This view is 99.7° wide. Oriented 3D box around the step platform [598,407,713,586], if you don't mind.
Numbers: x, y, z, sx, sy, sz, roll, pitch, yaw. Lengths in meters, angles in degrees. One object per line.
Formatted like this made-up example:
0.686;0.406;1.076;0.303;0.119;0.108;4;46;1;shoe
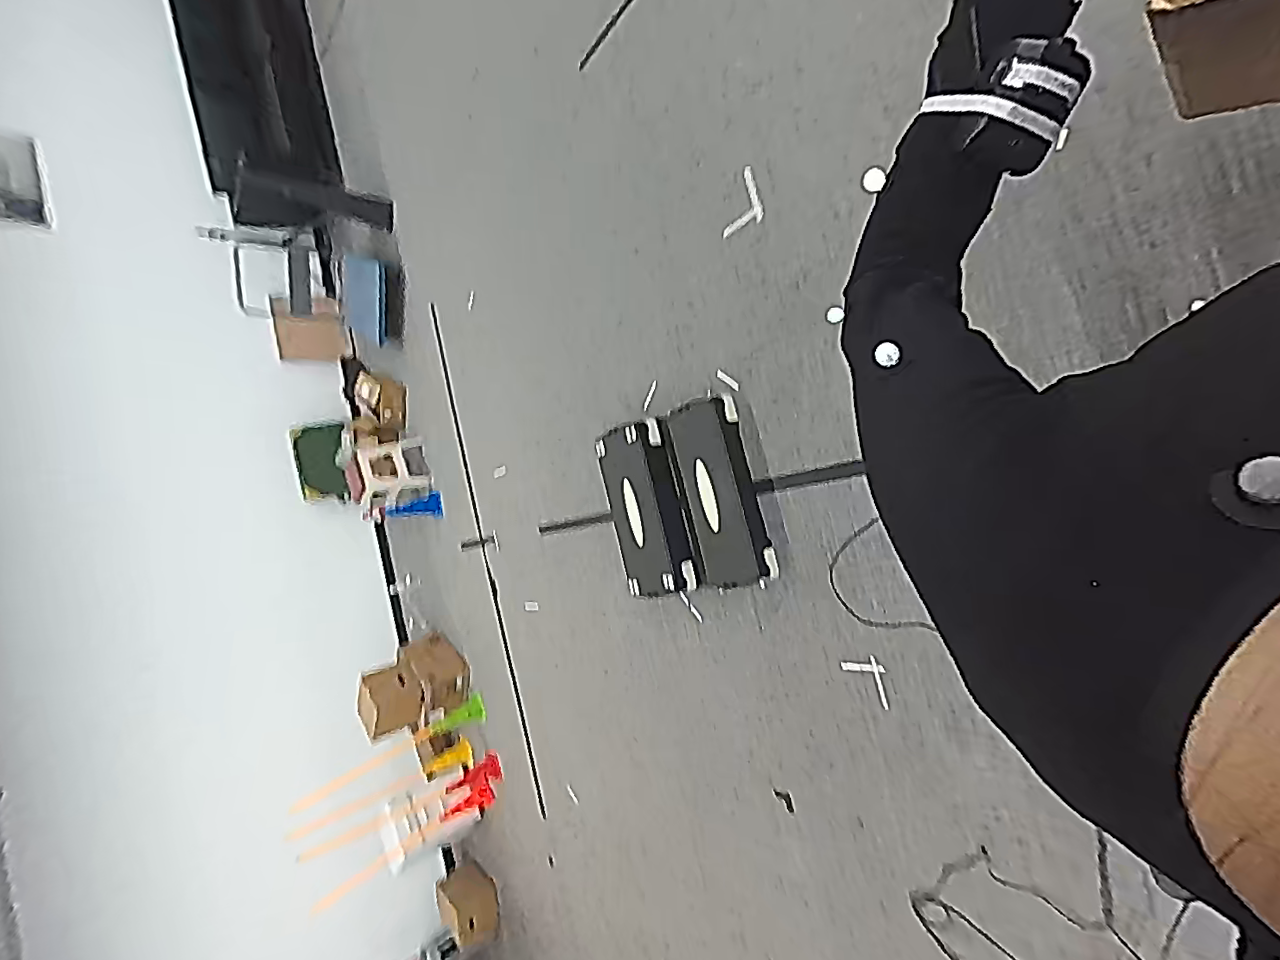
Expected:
0.049;0.066;2.115;0.286;0.204;0.684;-19;82;48;step platform
